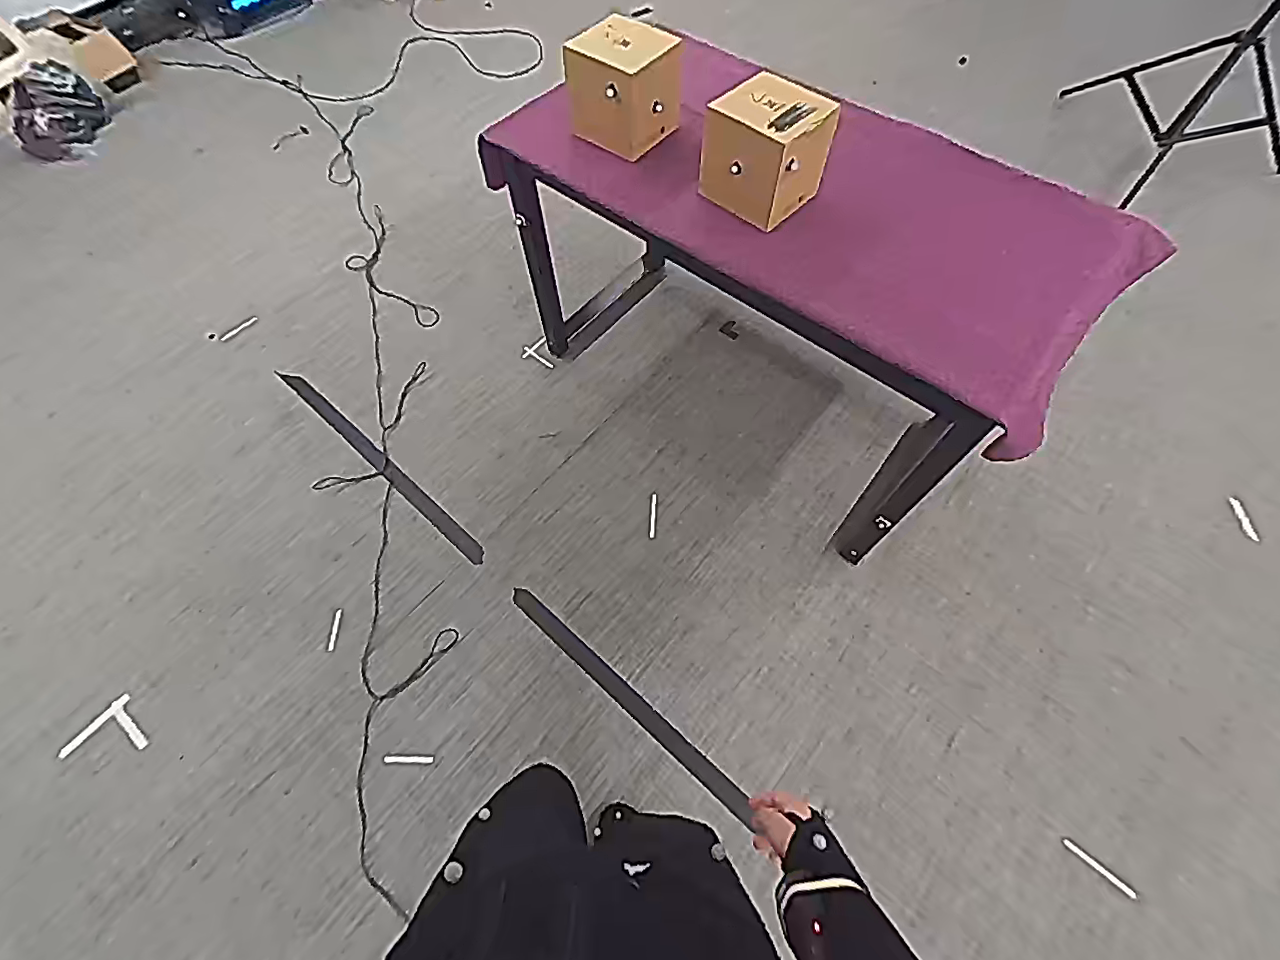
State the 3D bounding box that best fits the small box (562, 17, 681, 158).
[{"bbox_3d":[-0.035,-0.804,1.119,0.179,0.176,0.168,34,66,17],"label":"small box"}]
